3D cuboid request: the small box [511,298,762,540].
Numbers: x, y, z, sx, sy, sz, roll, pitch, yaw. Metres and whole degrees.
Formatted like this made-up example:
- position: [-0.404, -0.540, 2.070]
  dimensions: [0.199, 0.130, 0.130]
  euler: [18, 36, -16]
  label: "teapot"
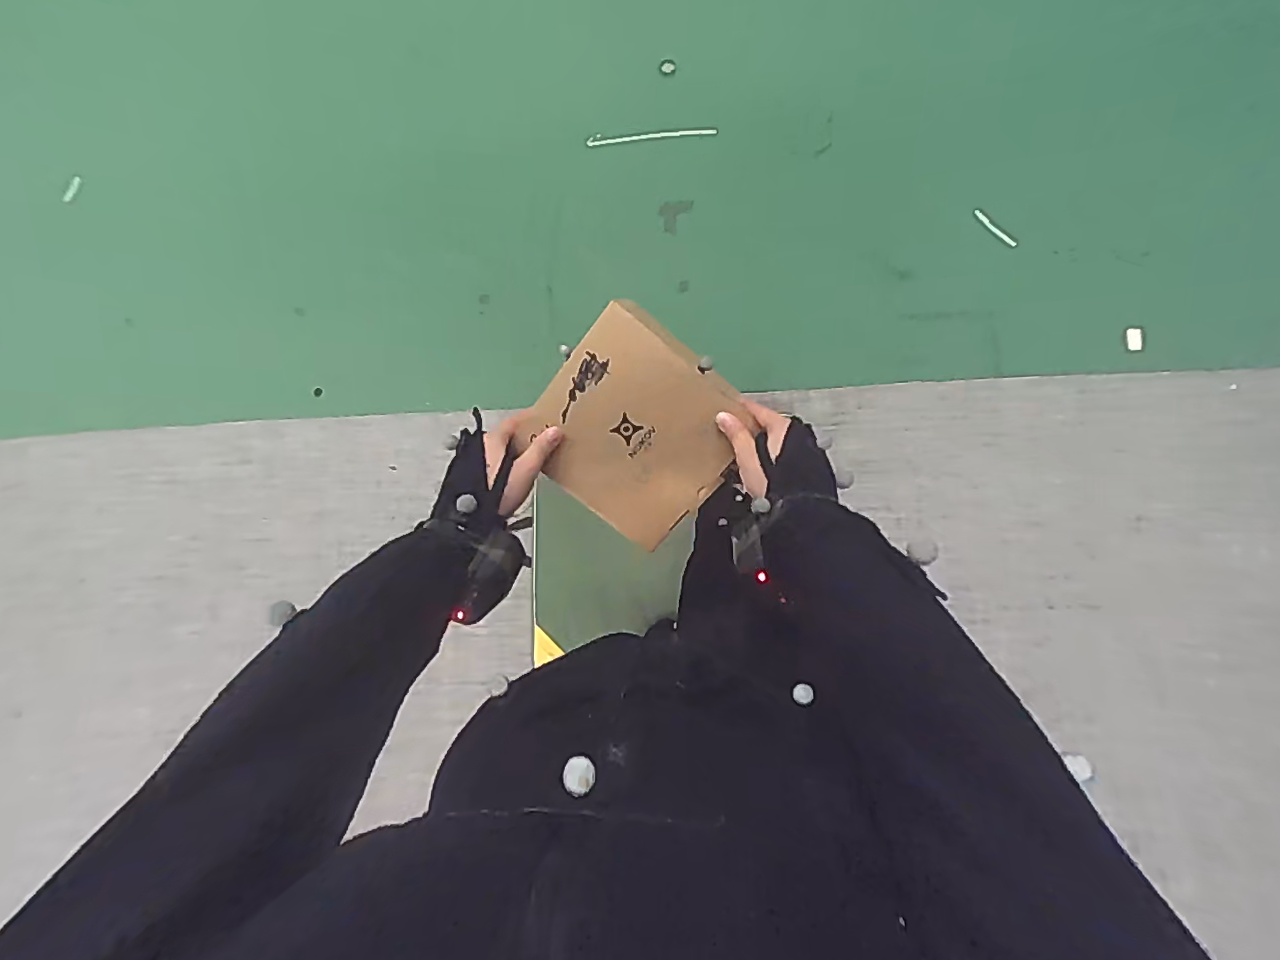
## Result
- position: [0.000, -0.075, 0.571]
  dimensions: [0.179, 0.176, 0.168]
  euler: [38, 107, -9]
  label: "small box"
